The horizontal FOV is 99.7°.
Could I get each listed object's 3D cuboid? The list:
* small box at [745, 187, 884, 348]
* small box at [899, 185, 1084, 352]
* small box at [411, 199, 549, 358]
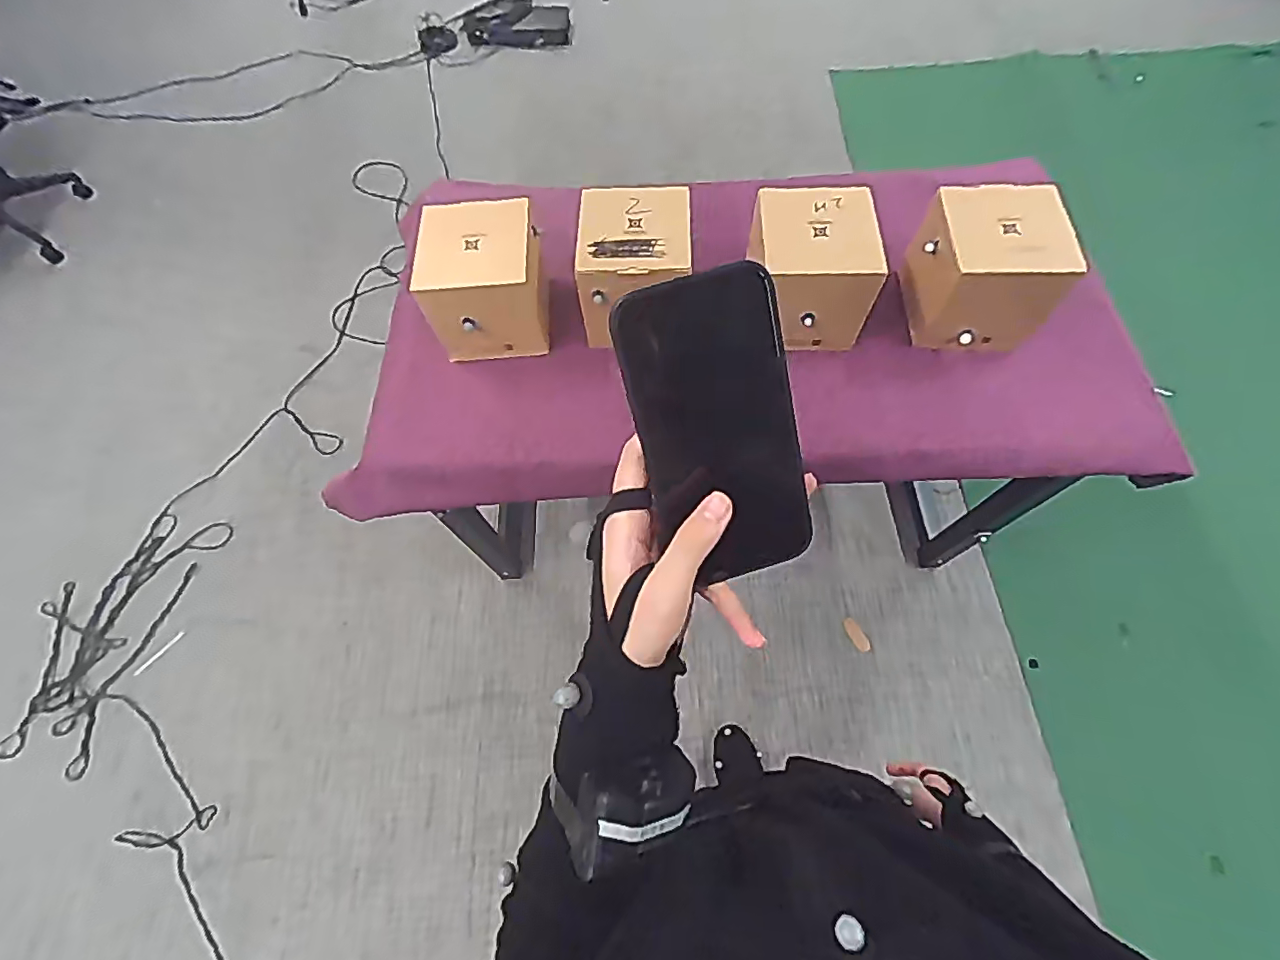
[{"bbox_3d":[0.258,-0.323,0.844,0.168,0.176,0.179,1,64,3],"label":"small box"},{"bbox_3d":[0.519,-0.321,0.831,0.168,0.176,0.179,2,65,5],"label":"small box"},{"bbox_3d":[-0.242,-0.311,0.863,0.168,0.176,0.179,-5,64,1],"label":"small box"}]
